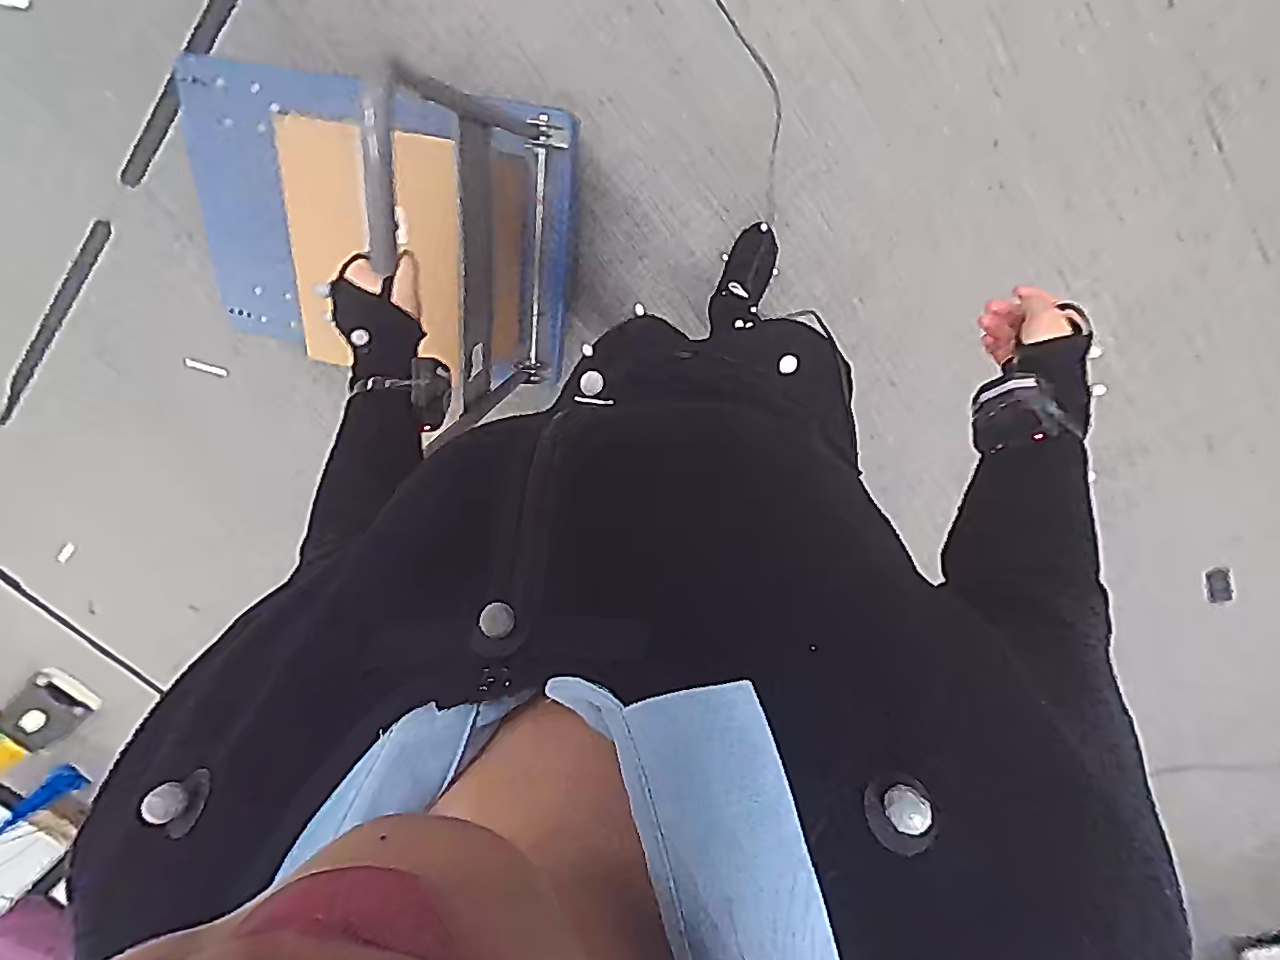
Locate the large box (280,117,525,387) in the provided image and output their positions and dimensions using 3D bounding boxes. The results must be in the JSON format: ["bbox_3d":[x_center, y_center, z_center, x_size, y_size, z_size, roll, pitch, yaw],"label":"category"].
[{"bbox_3d":[-0.430,-0.440,1.073,0.320,0.320,0.408,12,117,4],"label":"large box"}]
